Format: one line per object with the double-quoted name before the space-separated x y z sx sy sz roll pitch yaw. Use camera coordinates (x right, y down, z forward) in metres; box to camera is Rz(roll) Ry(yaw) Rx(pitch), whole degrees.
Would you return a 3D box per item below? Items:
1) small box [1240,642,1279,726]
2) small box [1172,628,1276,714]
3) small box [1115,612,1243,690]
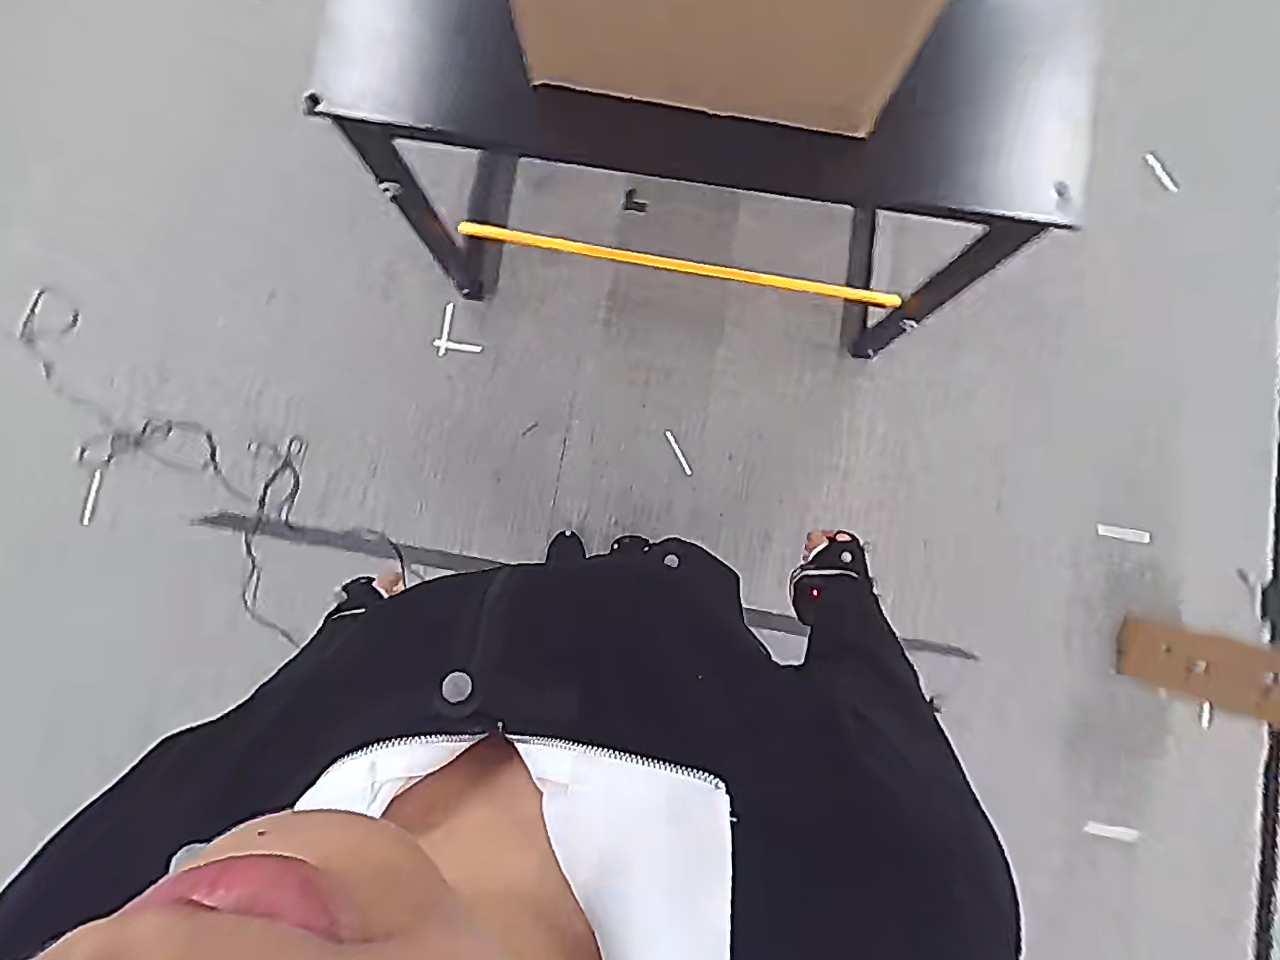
"small box" 1.398 0.438 1.093 0.179 0.176 0.168 12 85 1
"small box" 1.410 0.453 1.255 0.179 0.176 0.168 12 85 1
"small box" 1.405 0.458 1.419 0.168 0.176 0.179 13 86 1
